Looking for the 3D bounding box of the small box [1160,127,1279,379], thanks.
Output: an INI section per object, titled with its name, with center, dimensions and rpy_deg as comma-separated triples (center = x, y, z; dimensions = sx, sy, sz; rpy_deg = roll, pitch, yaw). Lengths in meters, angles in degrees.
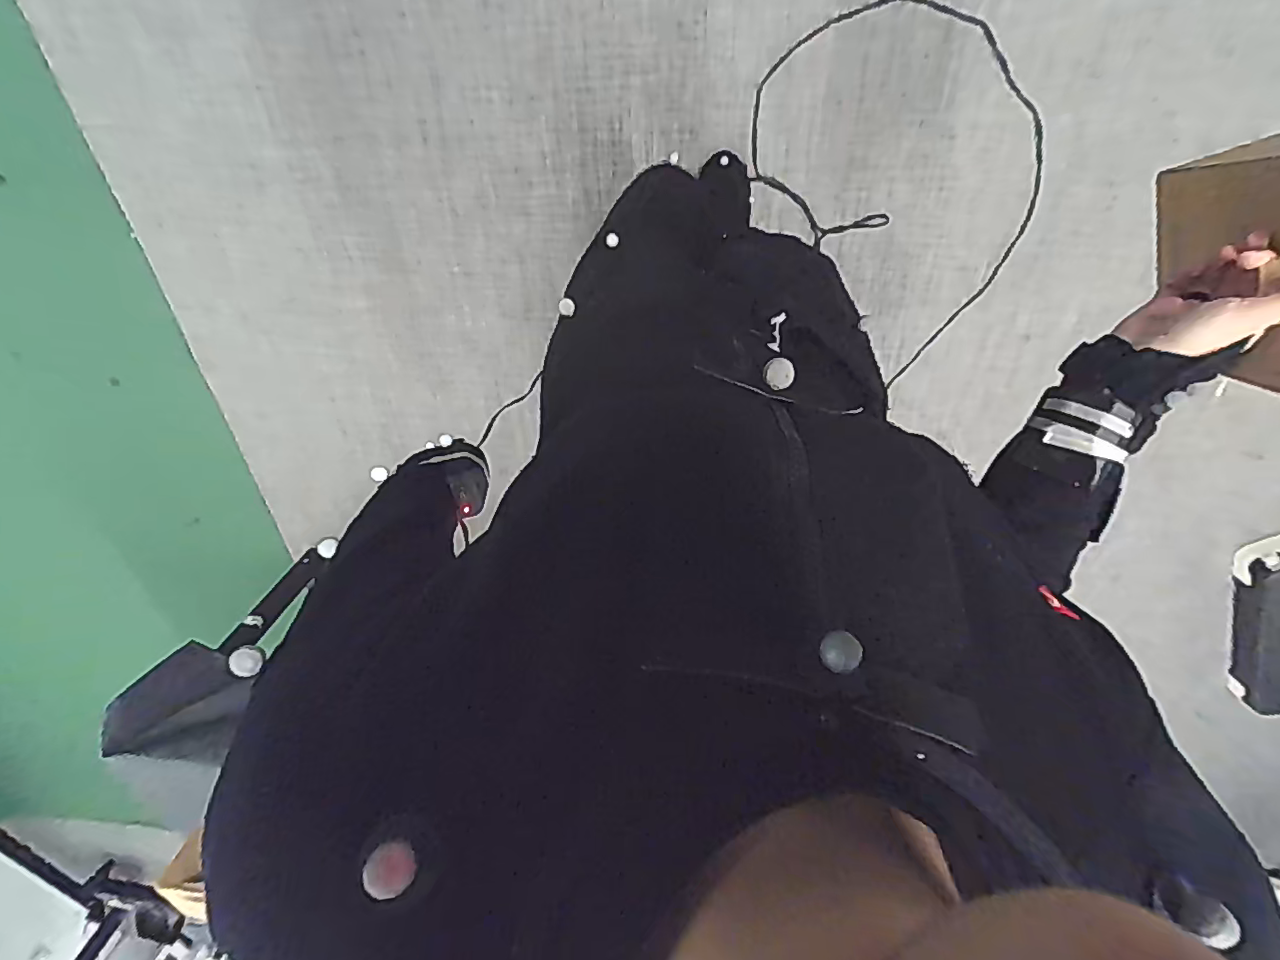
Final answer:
[small box]
center = 0.532, -0.180, 0.394
dimensions = 0.179, 0.176, 0.168
rpy_deg = -14, 111, 19
